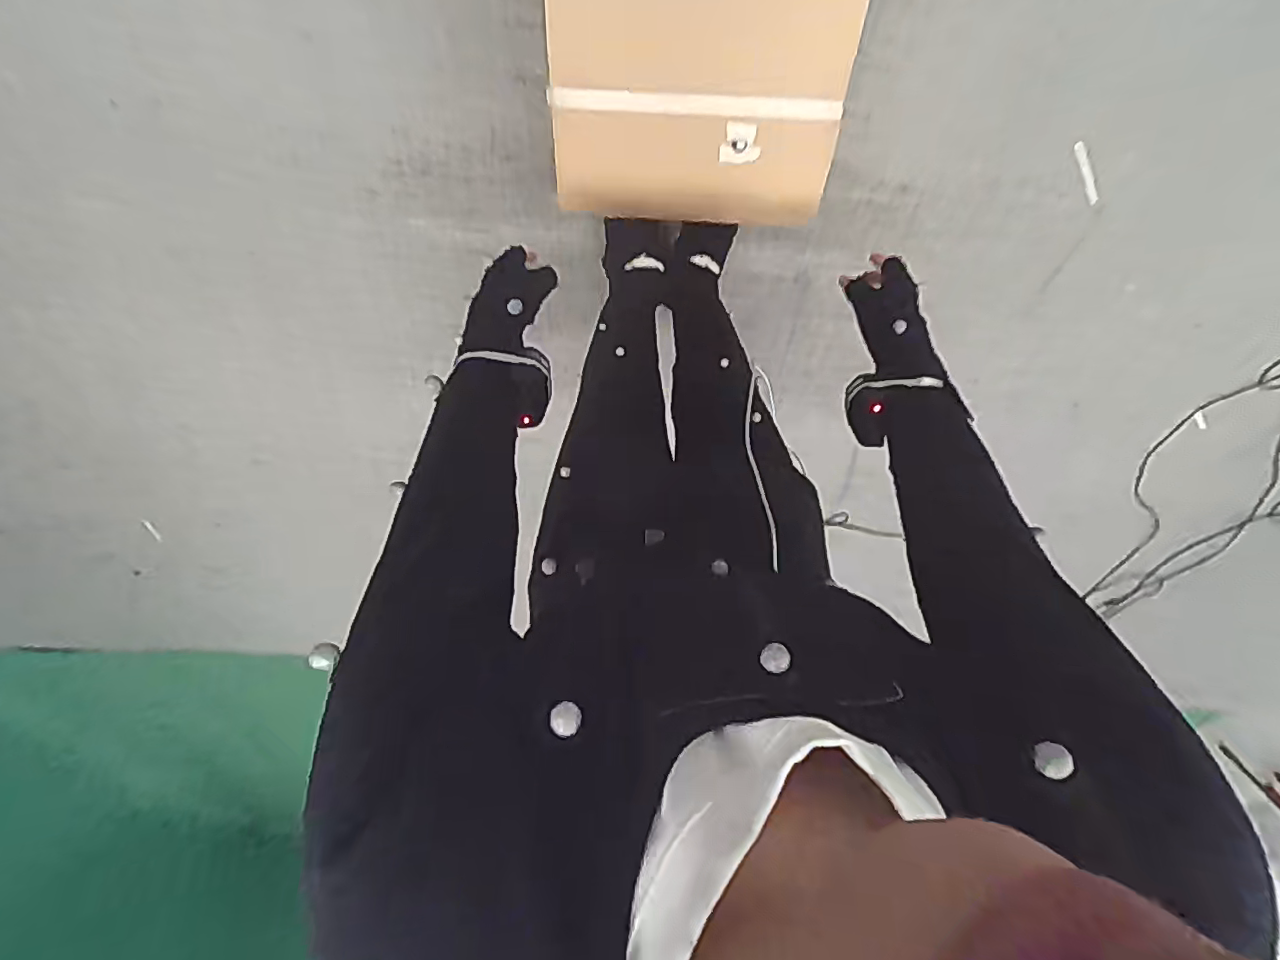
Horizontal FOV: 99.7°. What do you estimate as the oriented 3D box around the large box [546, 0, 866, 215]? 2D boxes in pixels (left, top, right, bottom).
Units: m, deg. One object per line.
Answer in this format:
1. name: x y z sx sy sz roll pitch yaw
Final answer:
1. large box: 0.081 -0.630 0.843 0.408 0.320 0.320 2 135 -1
